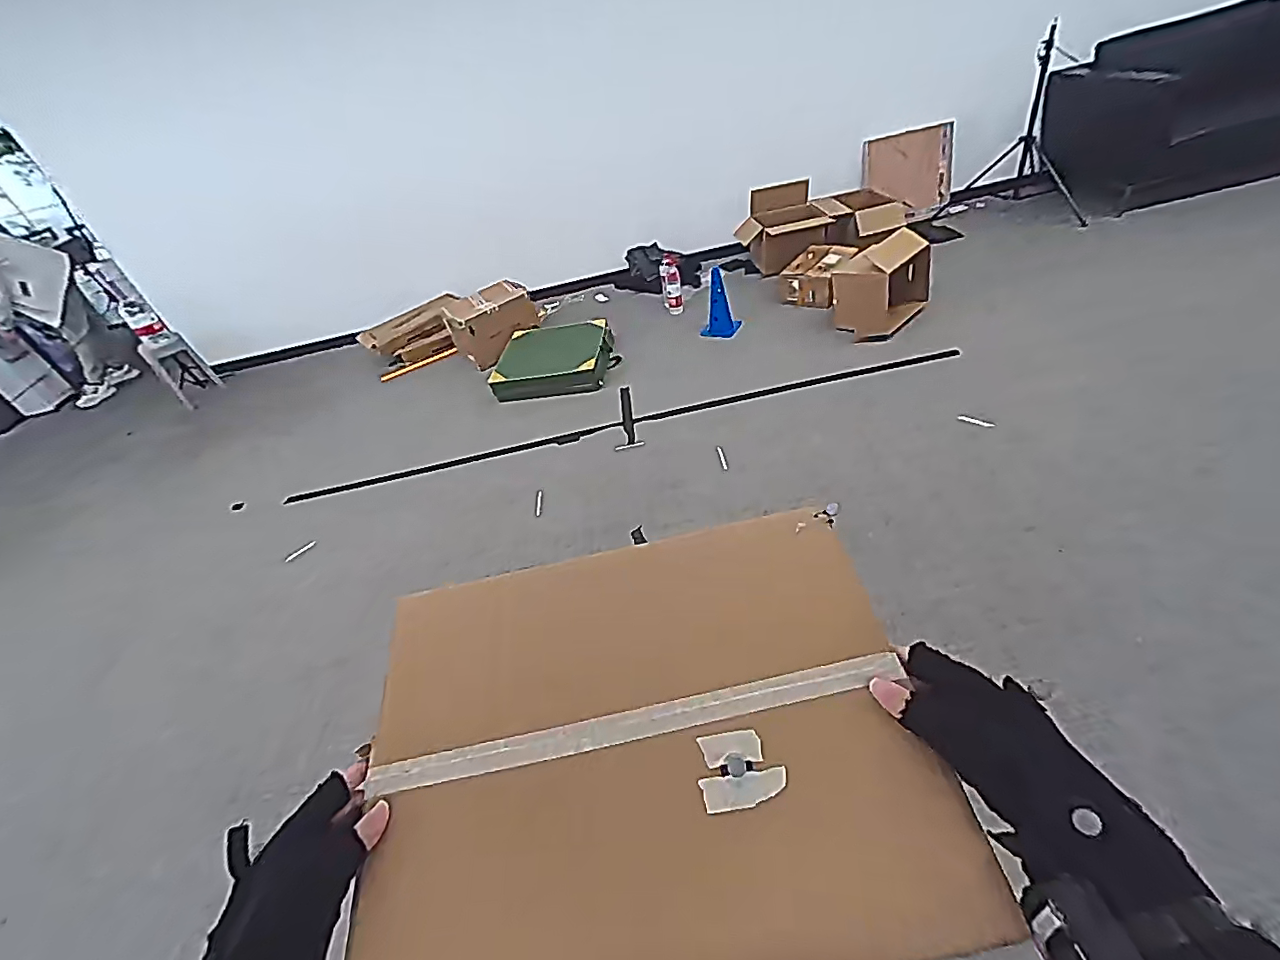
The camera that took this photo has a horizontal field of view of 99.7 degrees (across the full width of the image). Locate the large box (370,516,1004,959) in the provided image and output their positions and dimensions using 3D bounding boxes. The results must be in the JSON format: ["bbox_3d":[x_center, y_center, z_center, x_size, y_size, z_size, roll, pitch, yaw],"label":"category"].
[{"bbox_3d":[0.021,0.286,0.528,0.408,0.320,0.320,-13,50,0],"label":"large box"}]
